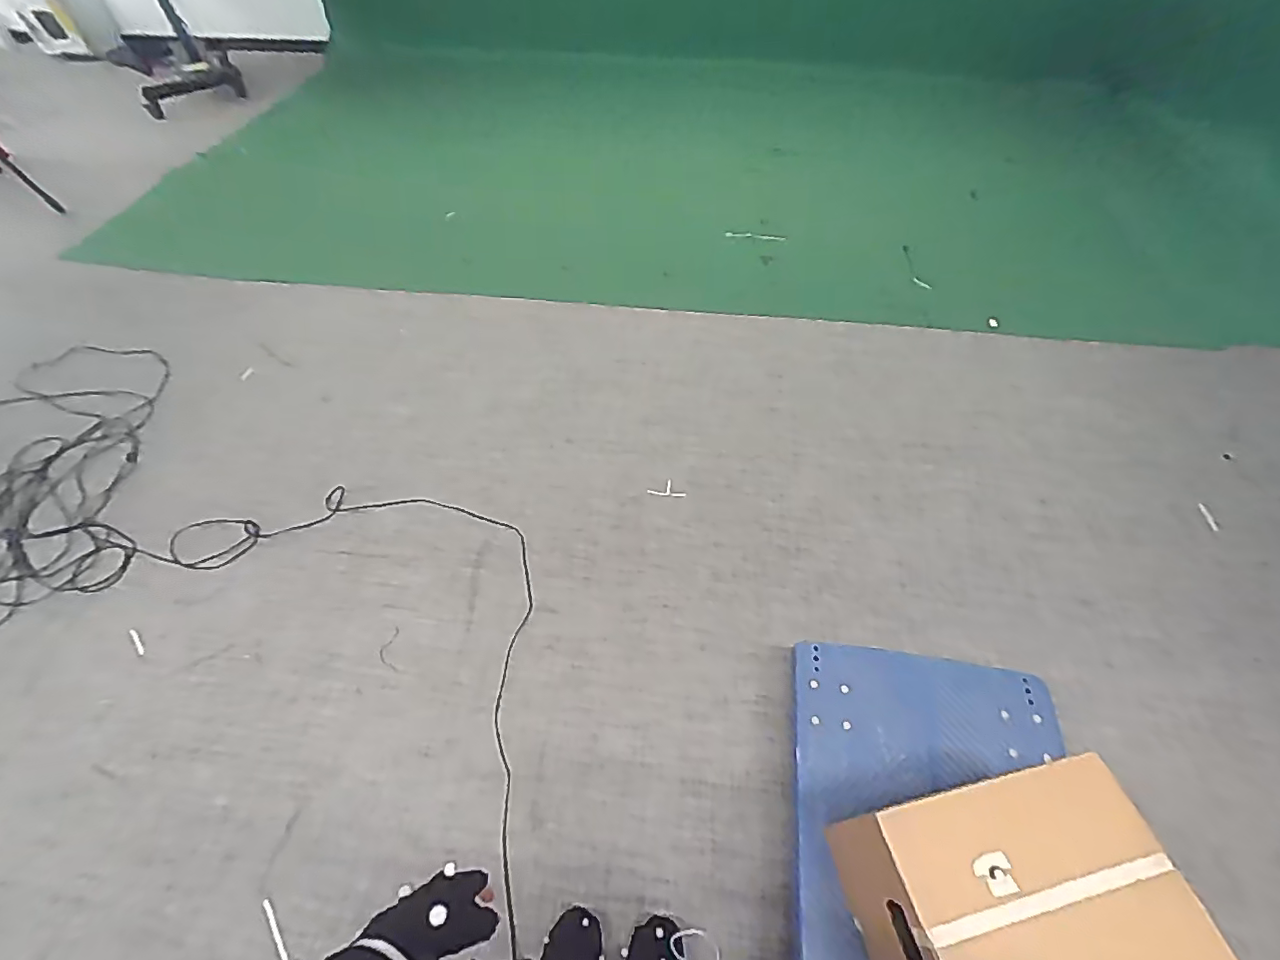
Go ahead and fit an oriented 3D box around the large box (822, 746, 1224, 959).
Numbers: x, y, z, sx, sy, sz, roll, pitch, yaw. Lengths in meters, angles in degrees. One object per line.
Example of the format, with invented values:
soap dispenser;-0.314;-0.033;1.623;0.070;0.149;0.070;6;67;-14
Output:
large box;0.590;0.688;0.916;0.408;0.320;0.320;-11;54;-7
